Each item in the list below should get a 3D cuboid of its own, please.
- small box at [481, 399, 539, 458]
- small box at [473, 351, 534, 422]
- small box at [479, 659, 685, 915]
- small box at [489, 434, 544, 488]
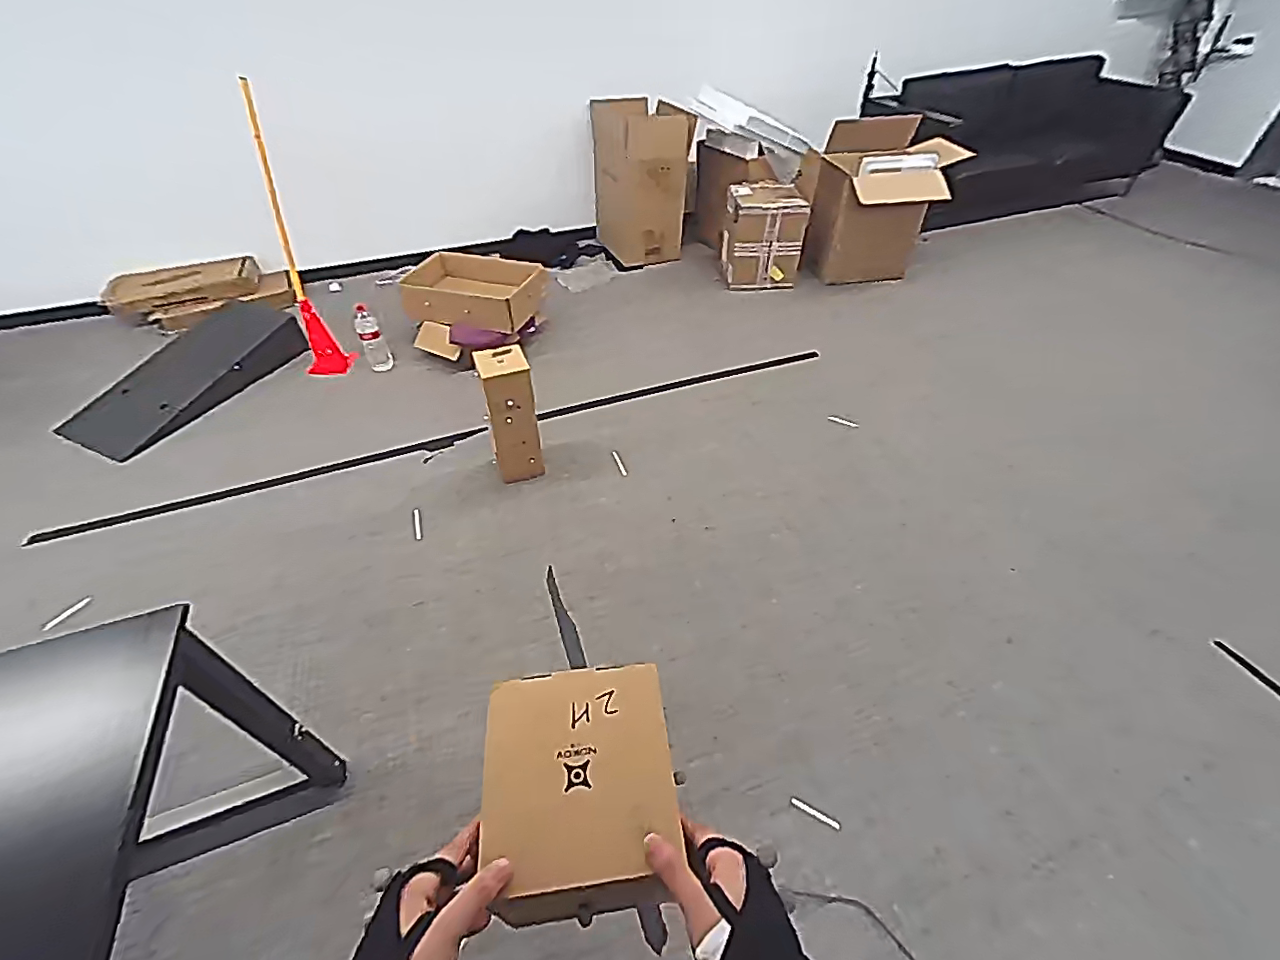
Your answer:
[{"bbox_3d":[-0.489,-0.211,2.042,0.168,0.176,0.179,-17,45,-16],"label":"small box"},{"bbox_3d":[-0.486,-0.332,1.929,0.168,0.176,0.179,-16,46,-16],"label":"small box"},{"bbox_3d":[-0.052,0.304,0.532,0.168,0.176,0.179,-6,45,-5],"label":"small box"},{"bbox_3d":[-0.488,-0.094,2.156,0.179,0.176,0.168,-16,45,-14],"label":"small box"}]
